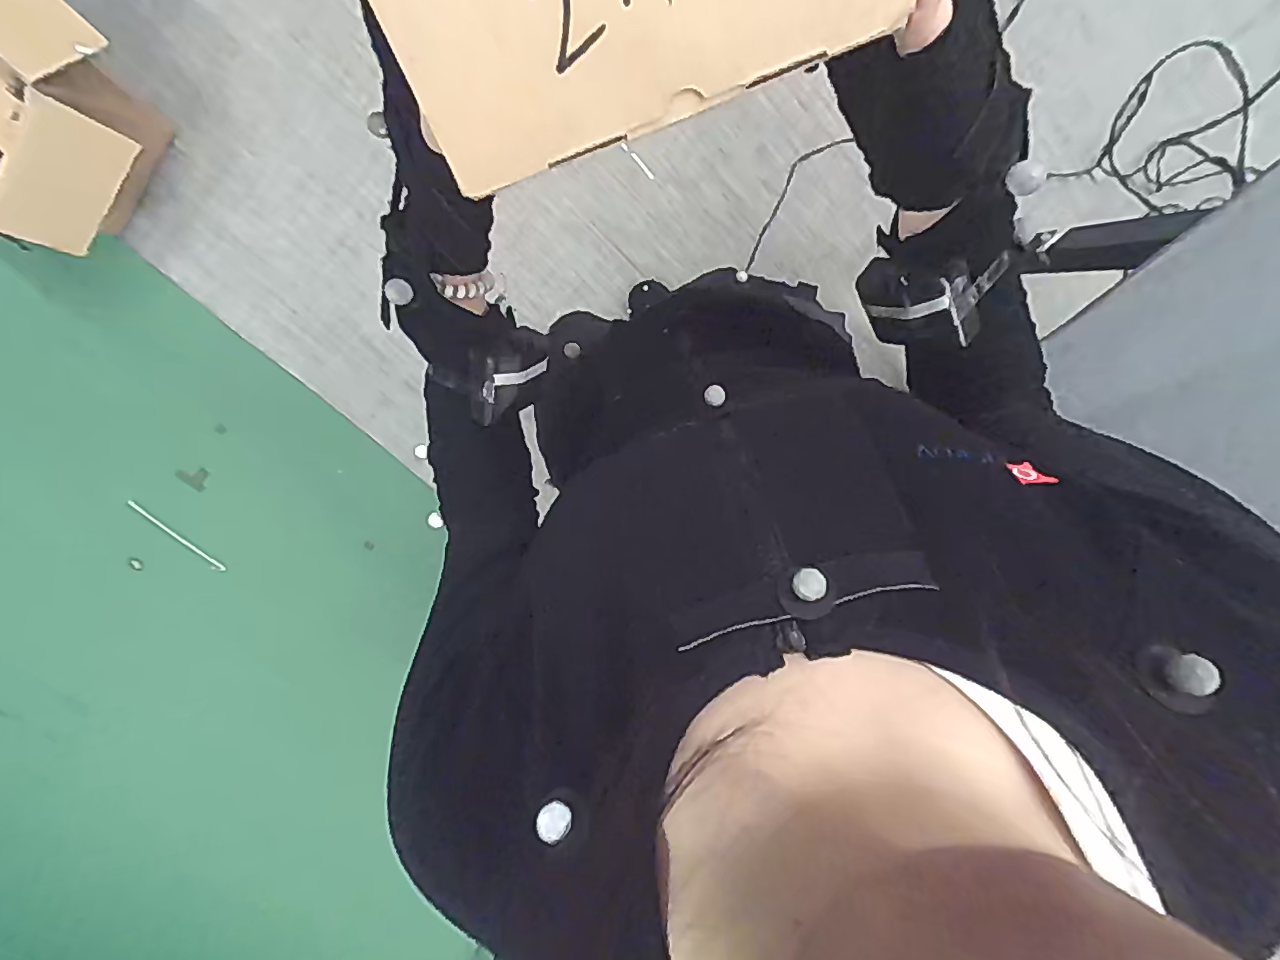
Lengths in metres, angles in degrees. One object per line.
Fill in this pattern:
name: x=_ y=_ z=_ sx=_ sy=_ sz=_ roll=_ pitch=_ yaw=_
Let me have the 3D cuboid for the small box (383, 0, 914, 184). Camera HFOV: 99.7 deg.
small box: x=-0.025 y=-0.238 z=0.186 sx=0.168 sy=0.176 sz=0.179 roll=-21 pitch=134 yaw=1
